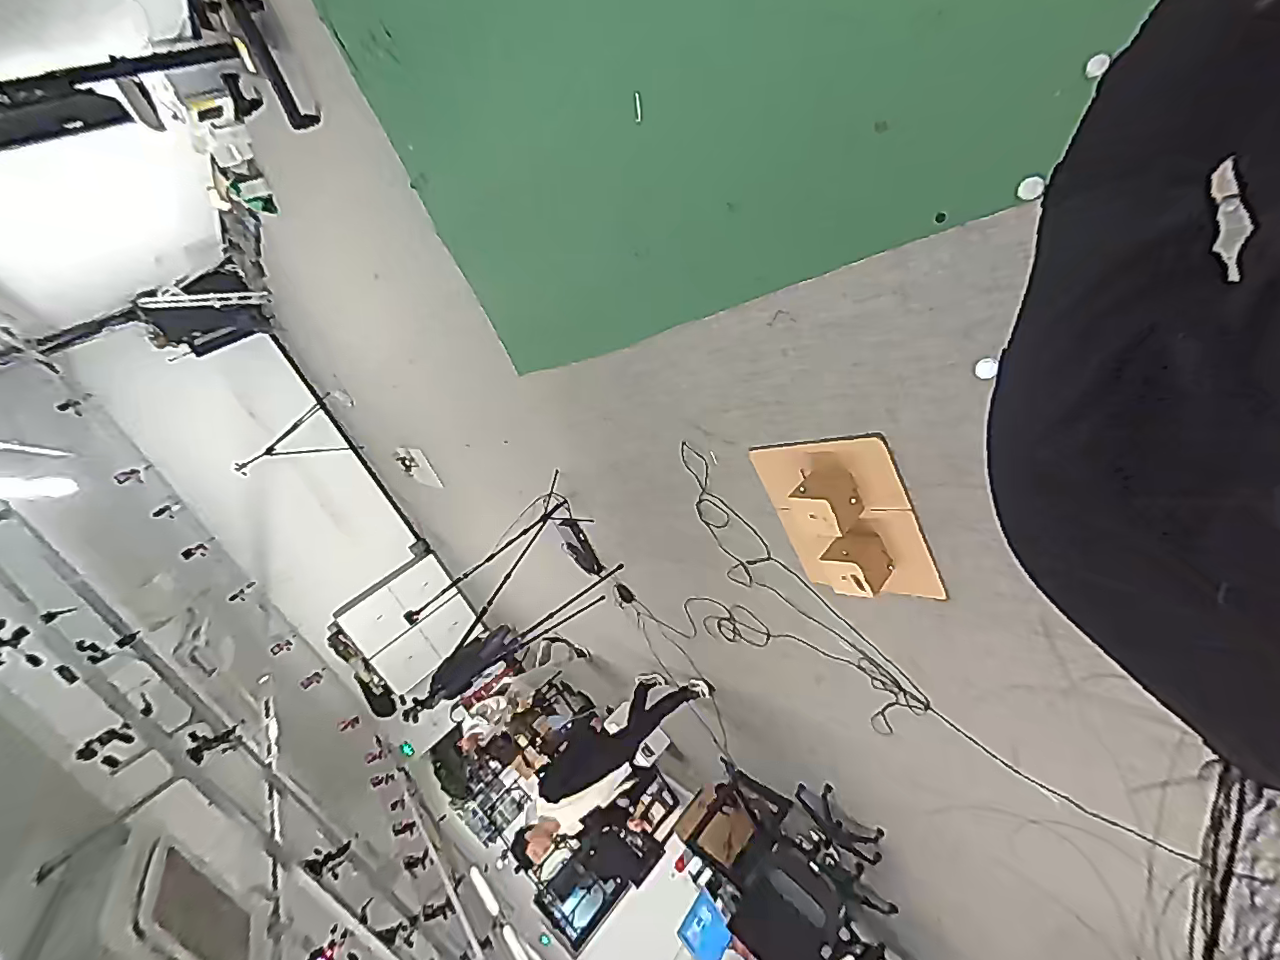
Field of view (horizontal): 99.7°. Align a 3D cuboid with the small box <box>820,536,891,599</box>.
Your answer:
[{"bbox_3d":[0.825,0.325,2.049,0.179,0.176,0.168,-7,118,57],"label":"small box"}]

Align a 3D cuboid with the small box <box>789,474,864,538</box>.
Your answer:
[{"bbox_3d":[0.686,0.090,1.985,0.179,0.176,0.168,2,125,53],"label":"small box"}]
